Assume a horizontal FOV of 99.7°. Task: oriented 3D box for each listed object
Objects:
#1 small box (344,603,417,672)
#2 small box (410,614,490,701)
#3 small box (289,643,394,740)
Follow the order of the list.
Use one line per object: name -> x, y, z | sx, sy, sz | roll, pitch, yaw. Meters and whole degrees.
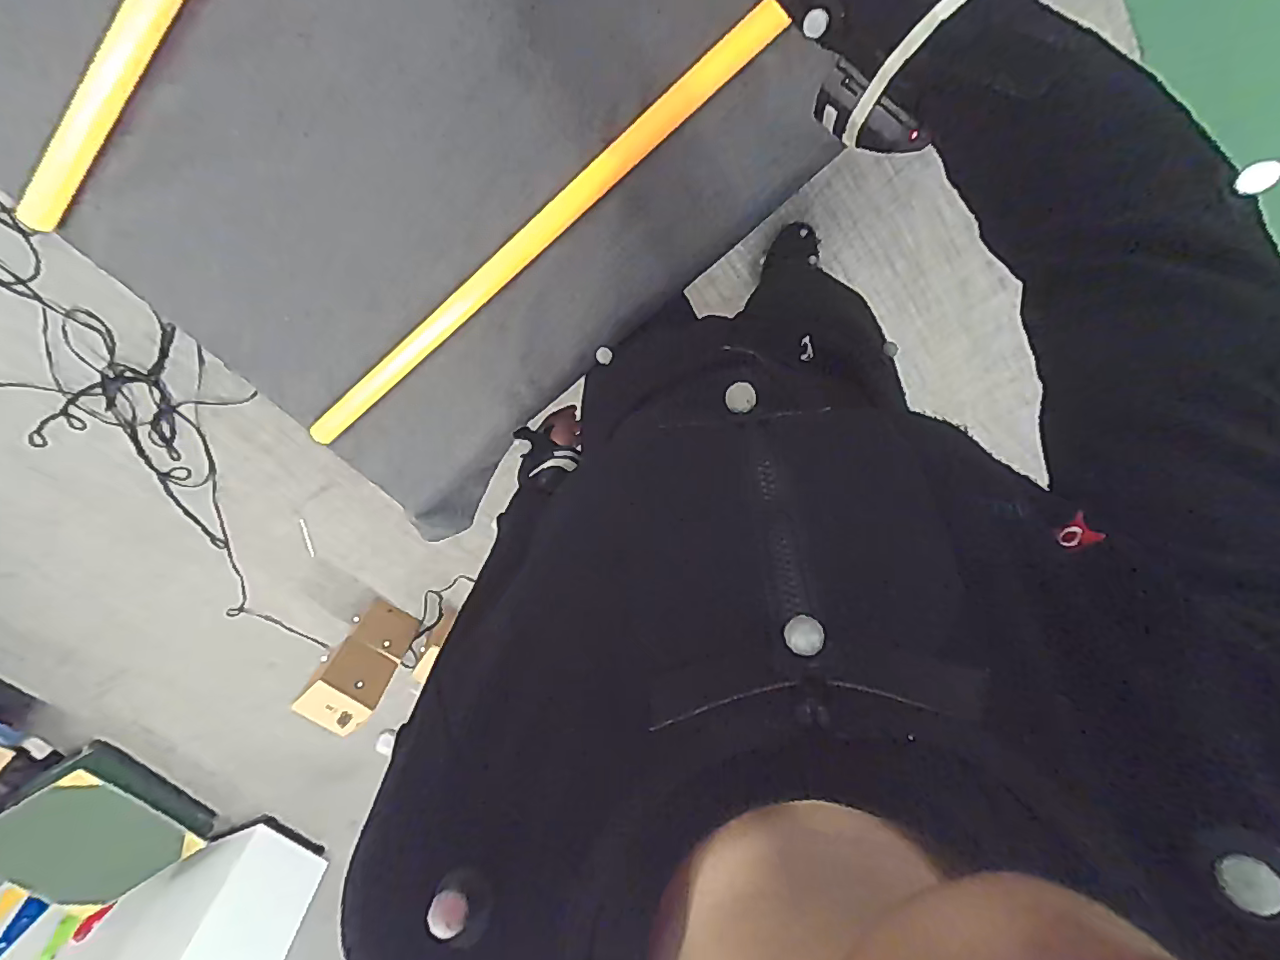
small box -> -0.835, 0.527, 1.706 | 0.168, 0.176, 0.179 | 37, 114, -17
small box -> -0.596, 0.561, 1.724 | 0.168, 0.176, 0.179 | 31, 116, -15
small box -> -0.850, 0.605, 1.561 | 0.168, 0.176, 0.179 | -40, 110, 21
